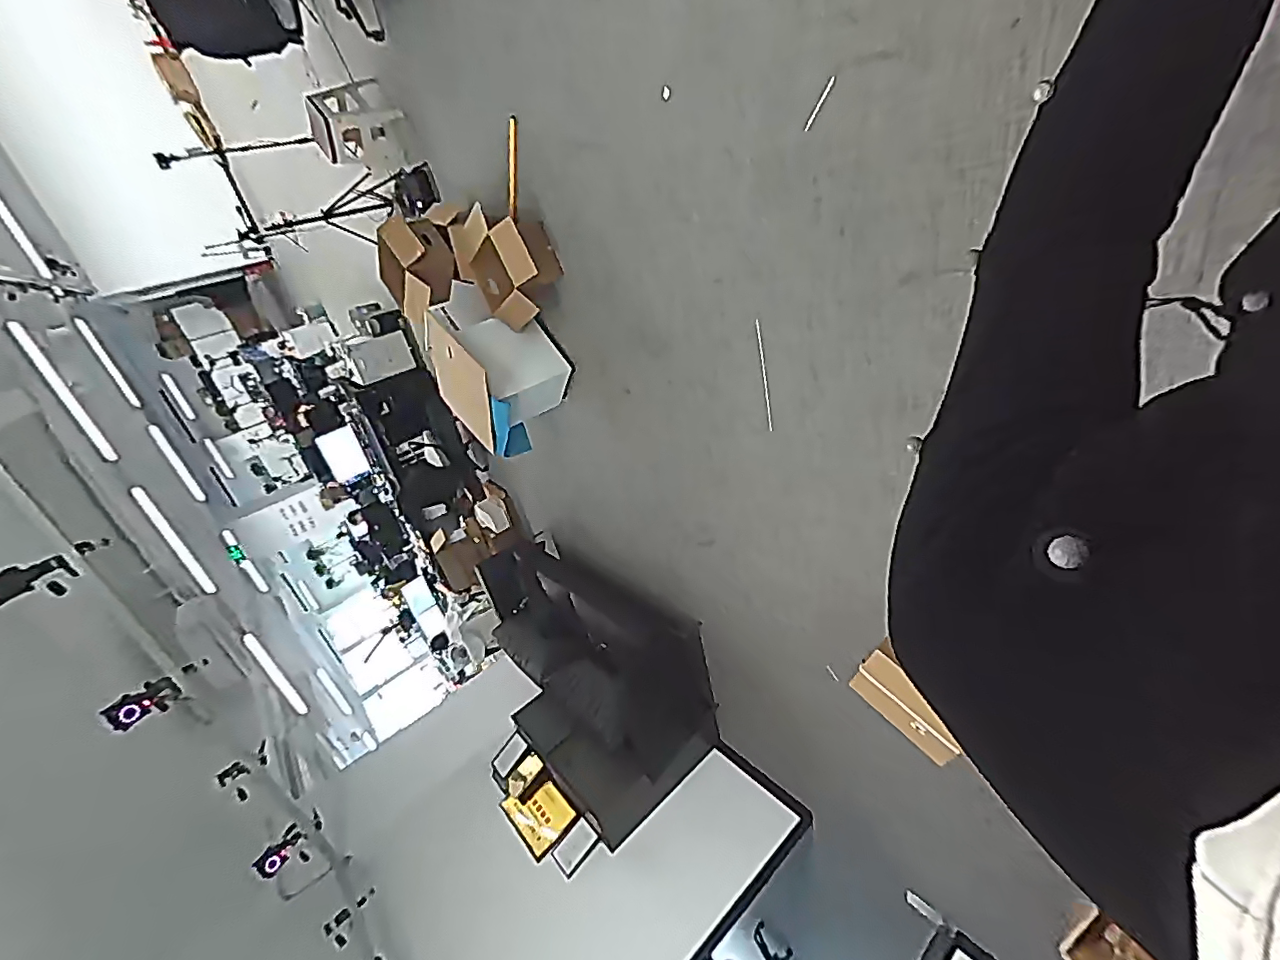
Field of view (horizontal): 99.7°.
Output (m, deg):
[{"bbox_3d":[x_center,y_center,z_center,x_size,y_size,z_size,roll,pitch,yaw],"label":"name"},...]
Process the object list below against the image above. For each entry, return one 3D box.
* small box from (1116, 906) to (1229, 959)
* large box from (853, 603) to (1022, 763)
[{"bbox_3d":[1.359,1.255,1.383,0.168,0.176,0.179,29,137,42],"label":"small box"},{"bbox_3d":[1.099,0.750,2.029,0.408,0.320,0.320,39,146,29],"label":"large box"}]
